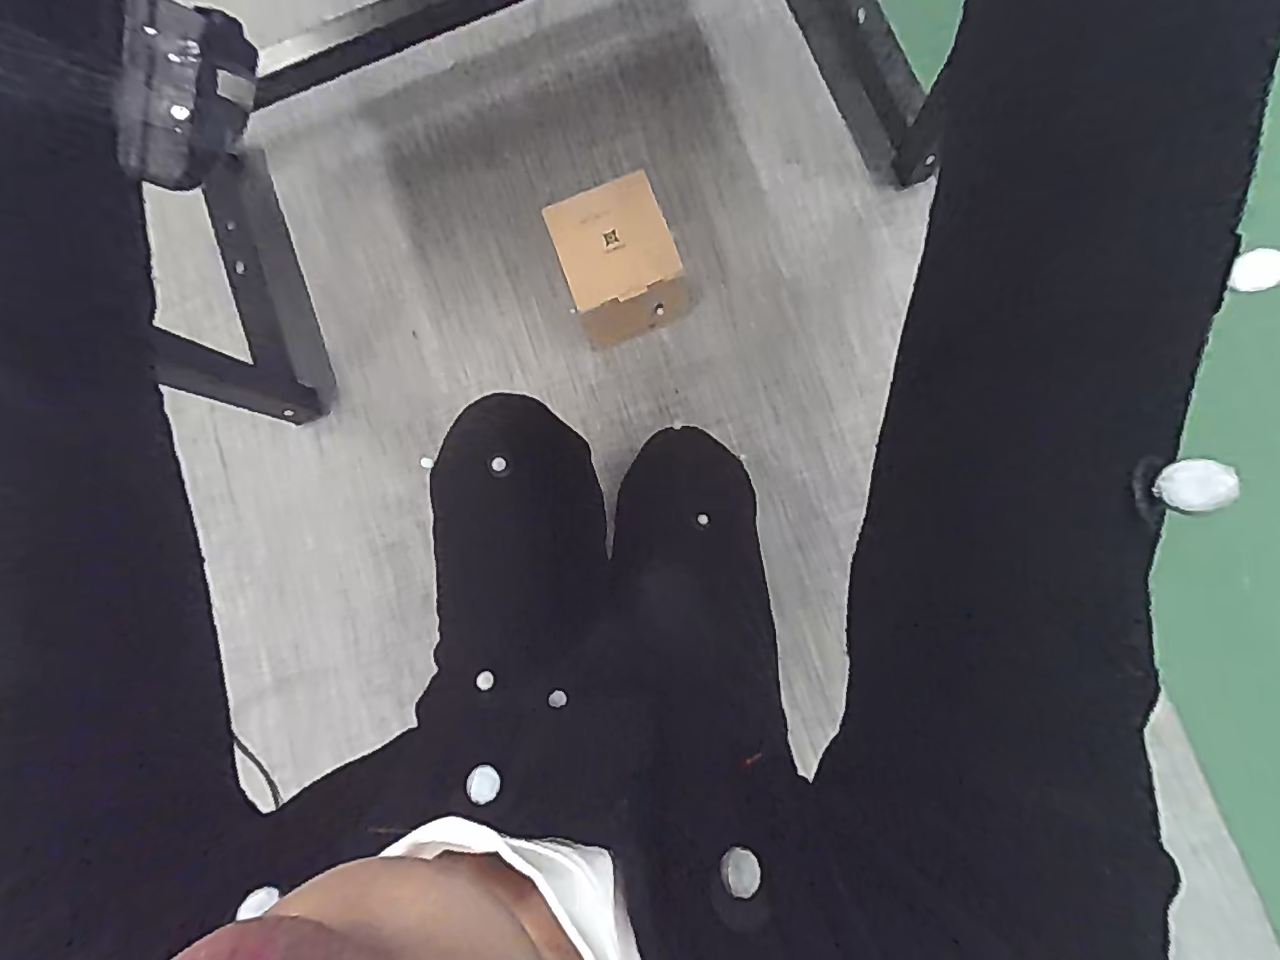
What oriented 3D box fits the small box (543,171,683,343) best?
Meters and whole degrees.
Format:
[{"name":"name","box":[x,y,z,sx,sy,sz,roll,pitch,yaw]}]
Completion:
[{"name":"small box","box":[-0.034,-0.341,0.869,0.168,0.176,0.179,-21,81,2]}]
